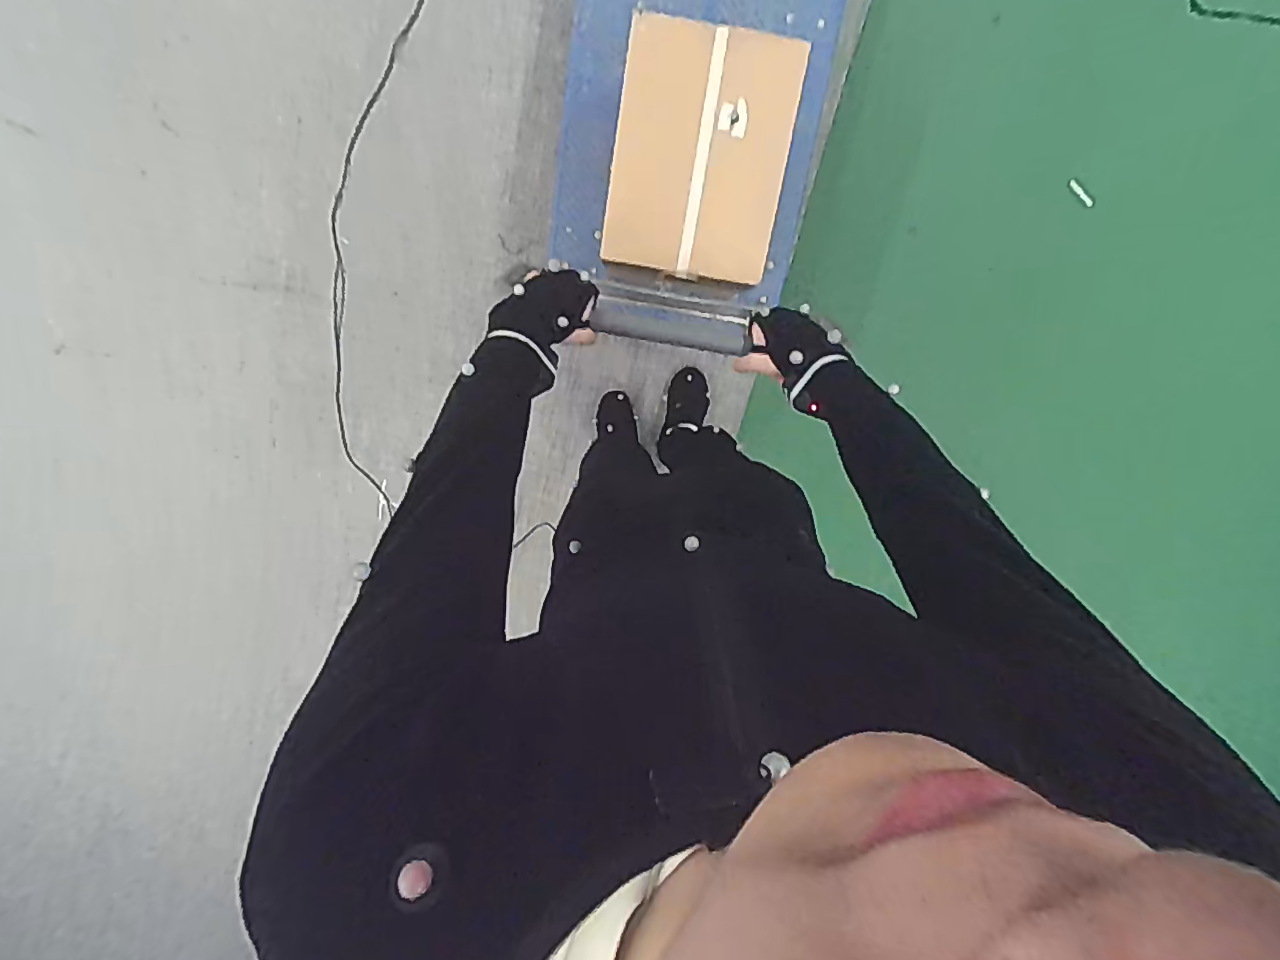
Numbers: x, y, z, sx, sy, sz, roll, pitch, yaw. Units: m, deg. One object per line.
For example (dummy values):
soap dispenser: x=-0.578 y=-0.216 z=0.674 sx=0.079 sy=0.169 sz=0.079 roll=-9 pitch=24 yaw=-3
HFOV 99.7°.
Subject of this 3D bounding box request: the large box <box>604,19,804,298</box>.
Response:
large box: x=0.111 y=-0.618 z=1.126 sx=0.320 sy=0.320 sz=0.408 roll=9 pitch=103 yaw=-3
